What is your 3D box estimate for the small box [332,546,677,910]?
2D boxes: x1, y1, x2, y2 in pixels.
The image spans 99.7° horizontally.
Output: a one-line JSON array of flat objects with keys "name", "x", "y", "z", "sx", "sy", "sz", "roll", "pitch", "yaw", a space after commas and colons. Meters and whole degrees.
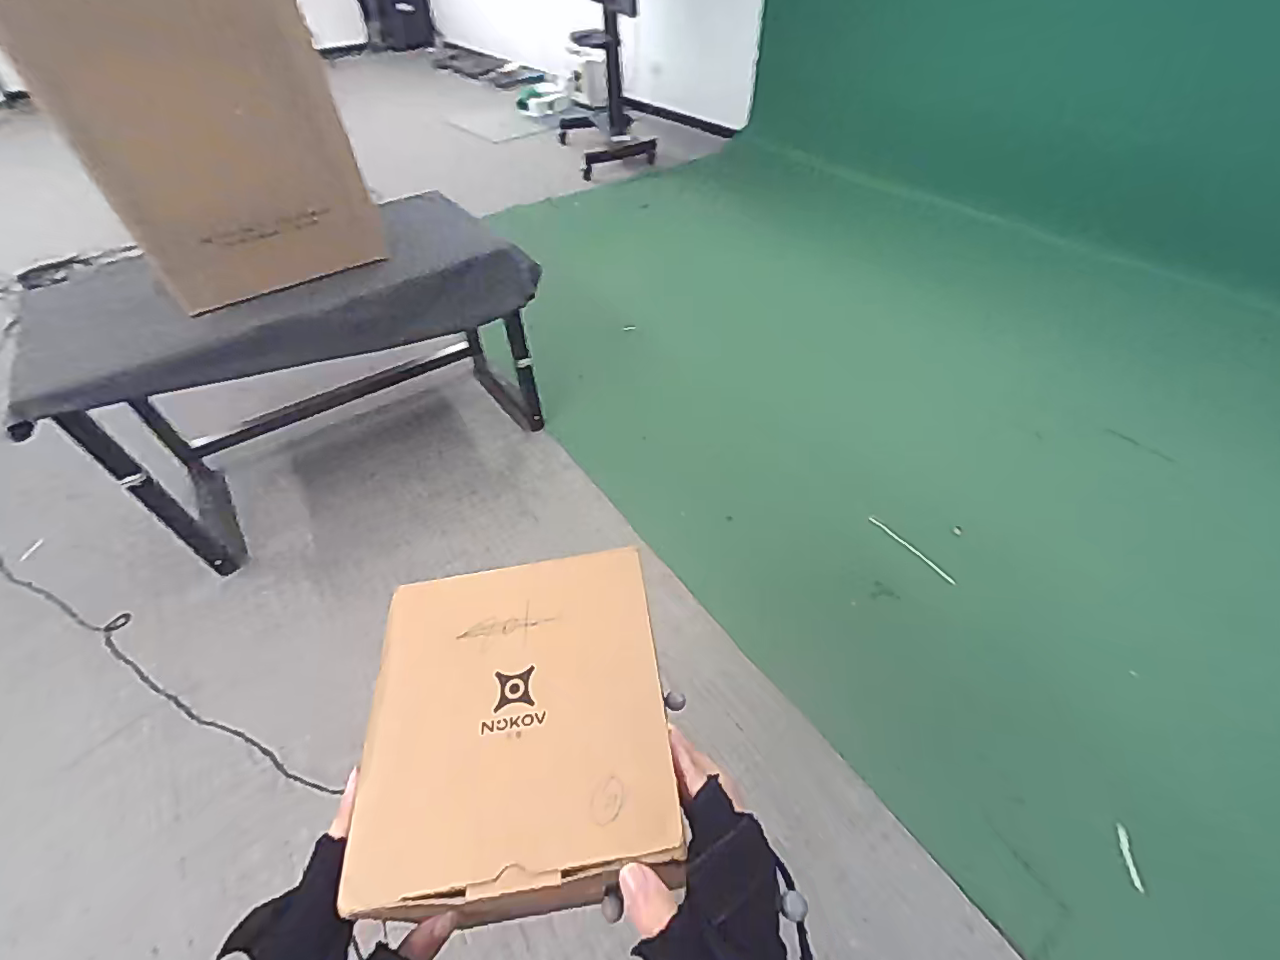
[{"name": "small box", "x": -0.070, "y": 0.174, "z": 0.371, "sx": 0.168, "sy": 0.176, "sz": 0.179, "roll": -9, "pitch": 48, "yaw": -2}]
